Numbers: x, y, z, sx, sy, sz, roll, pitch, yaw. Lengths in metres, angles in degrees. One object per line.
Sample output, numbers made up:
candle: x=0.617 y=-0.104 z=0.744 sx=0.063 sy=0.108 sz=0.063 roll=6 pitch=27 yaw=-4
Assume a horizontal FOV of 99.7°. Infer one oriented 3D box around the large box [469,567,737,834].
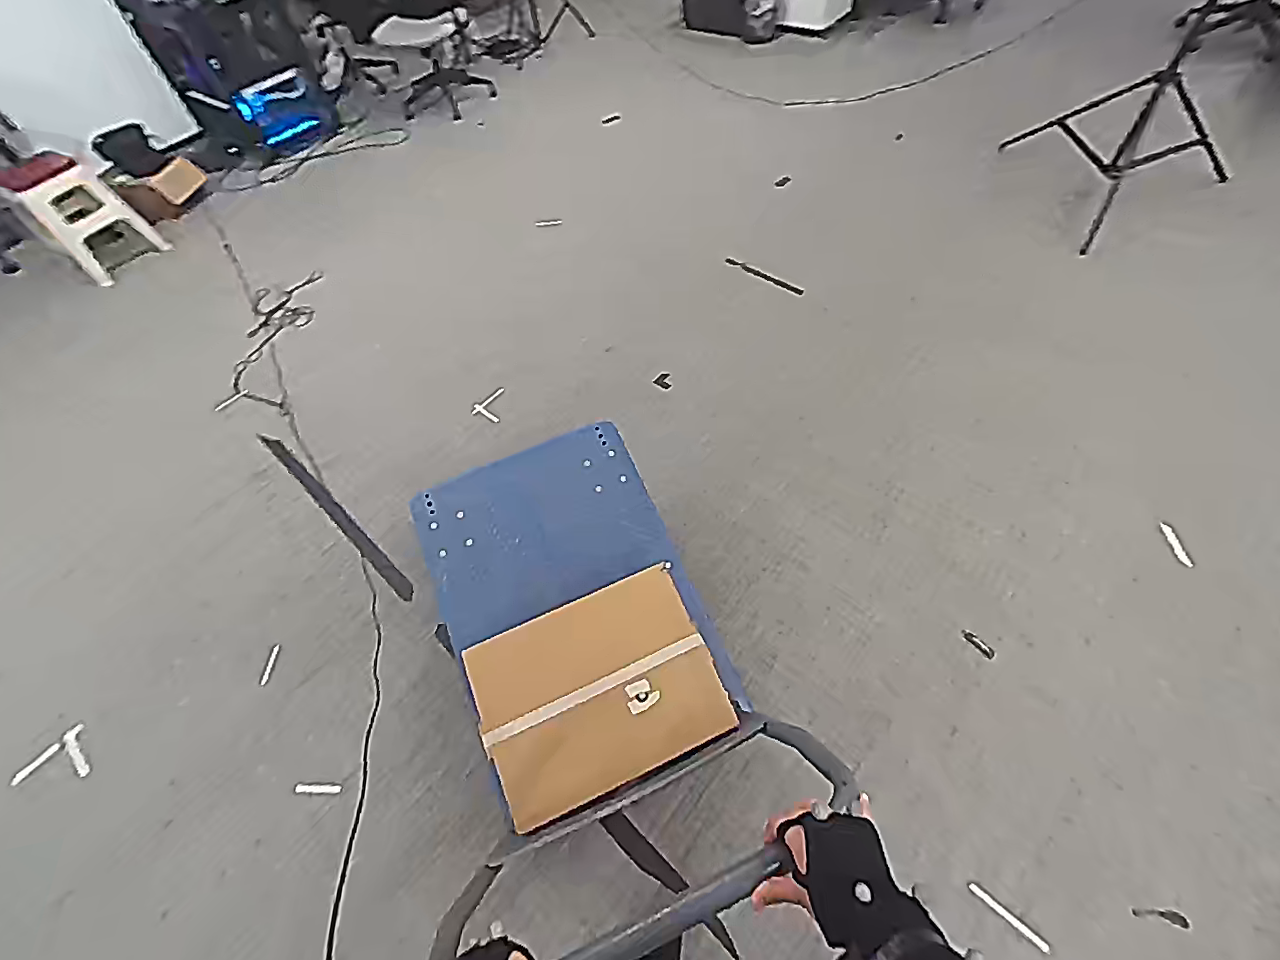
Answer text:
large box: x=-0.072 y=0.432 z=1.097 sx=0.408 sy=0.320 sz=0.320 roll=-23 pitch=69 yaw=-10
